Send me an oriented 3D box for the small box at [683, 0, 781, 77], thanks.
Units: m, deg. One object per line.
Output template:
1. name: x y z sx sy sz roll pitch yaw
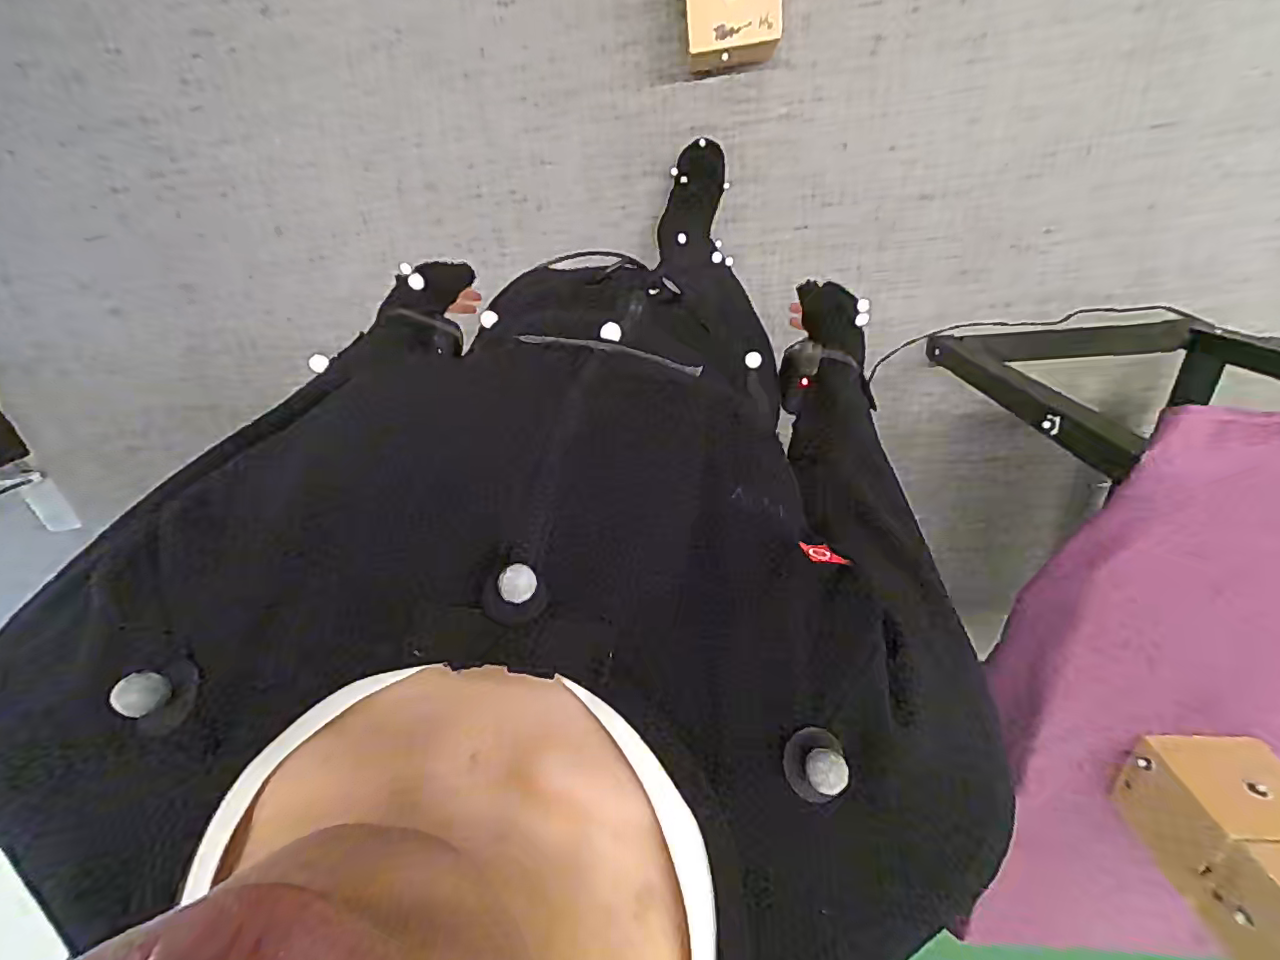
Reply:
1. small box: 0.166 -0.882 1.002 0.168 0.176 0.179 -4 116 7

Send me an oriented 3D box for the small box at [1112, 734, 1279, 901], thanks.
1. small box: 0.900 0.520 0.841 0.179 0.176 0.168 -1 117 5

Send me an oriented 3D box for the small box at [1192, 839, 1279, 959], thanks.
1. small box: 0.896 0.593 0.694 0.179 0.176 0.168 -1 117 6
